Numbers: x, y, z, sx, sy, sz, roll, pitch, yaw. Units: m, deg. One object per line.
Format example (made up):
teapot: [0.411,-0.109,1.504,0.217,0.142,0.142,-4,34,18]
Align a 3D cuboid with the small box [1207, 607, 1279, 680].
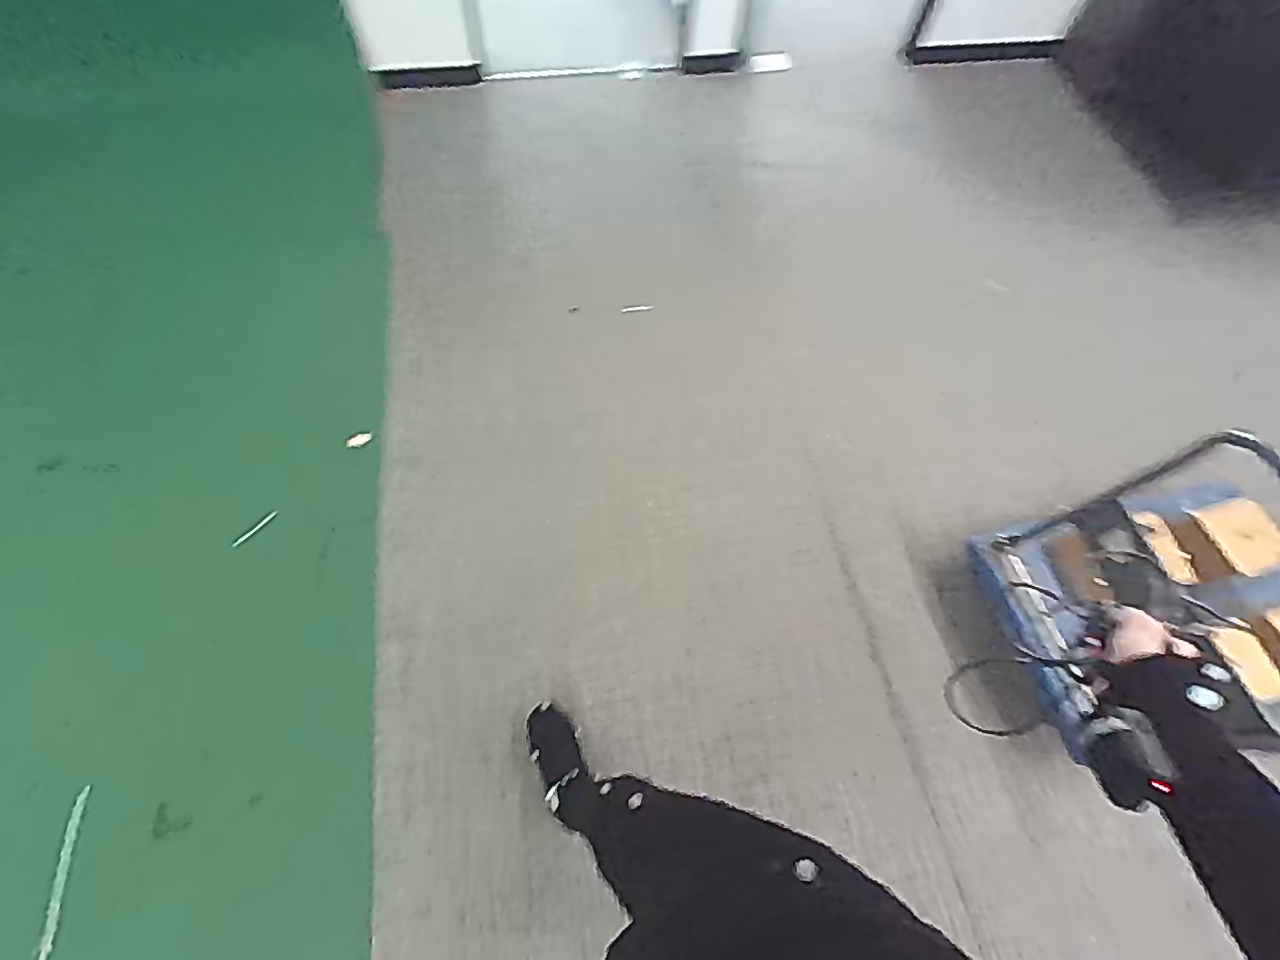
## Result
small box: [1.525,0.395,1.279,0.179,0.176,0.168,-13,65,-8]

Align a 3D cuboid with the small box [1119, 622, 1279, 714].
small box: [1.285,0.437,1.248,0.179,0.176,0.168,-10,65,-7]

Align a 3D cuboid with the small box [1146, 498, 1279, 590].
small box: [1.466,0.169,1.385,0.179,0.176,0.168,-14,66,-9]
